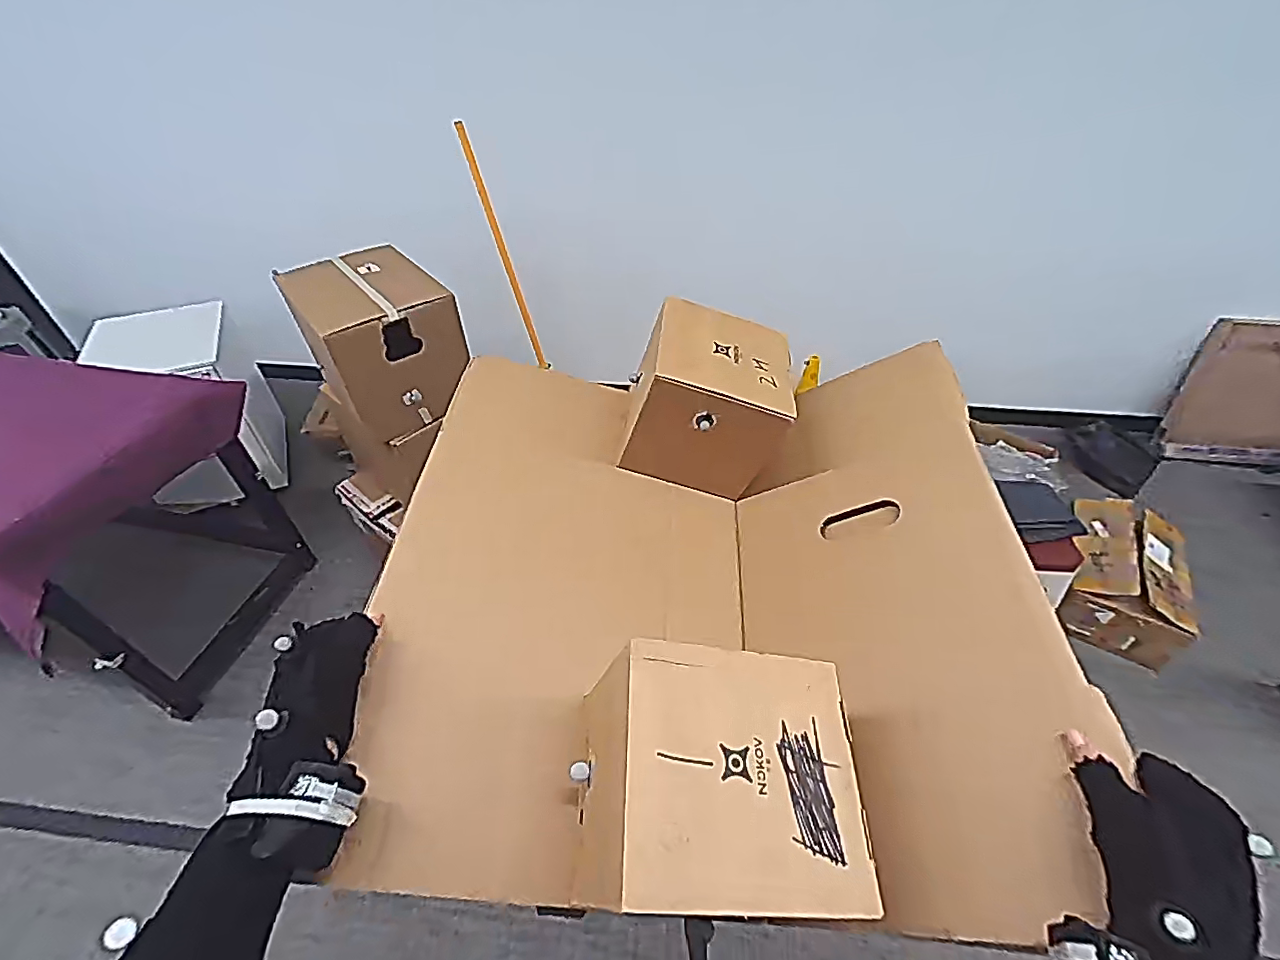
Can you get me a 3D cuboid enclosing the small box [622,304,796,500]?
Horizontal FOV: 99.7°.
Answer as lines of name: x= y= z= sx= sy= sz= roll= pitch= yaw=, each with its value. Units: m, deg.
small box: x=0.085 y=-0.096 z=0.720 sx=0.179 sy=0.176 sz=0.168 roll=17 pitch=50 yaw=-8
